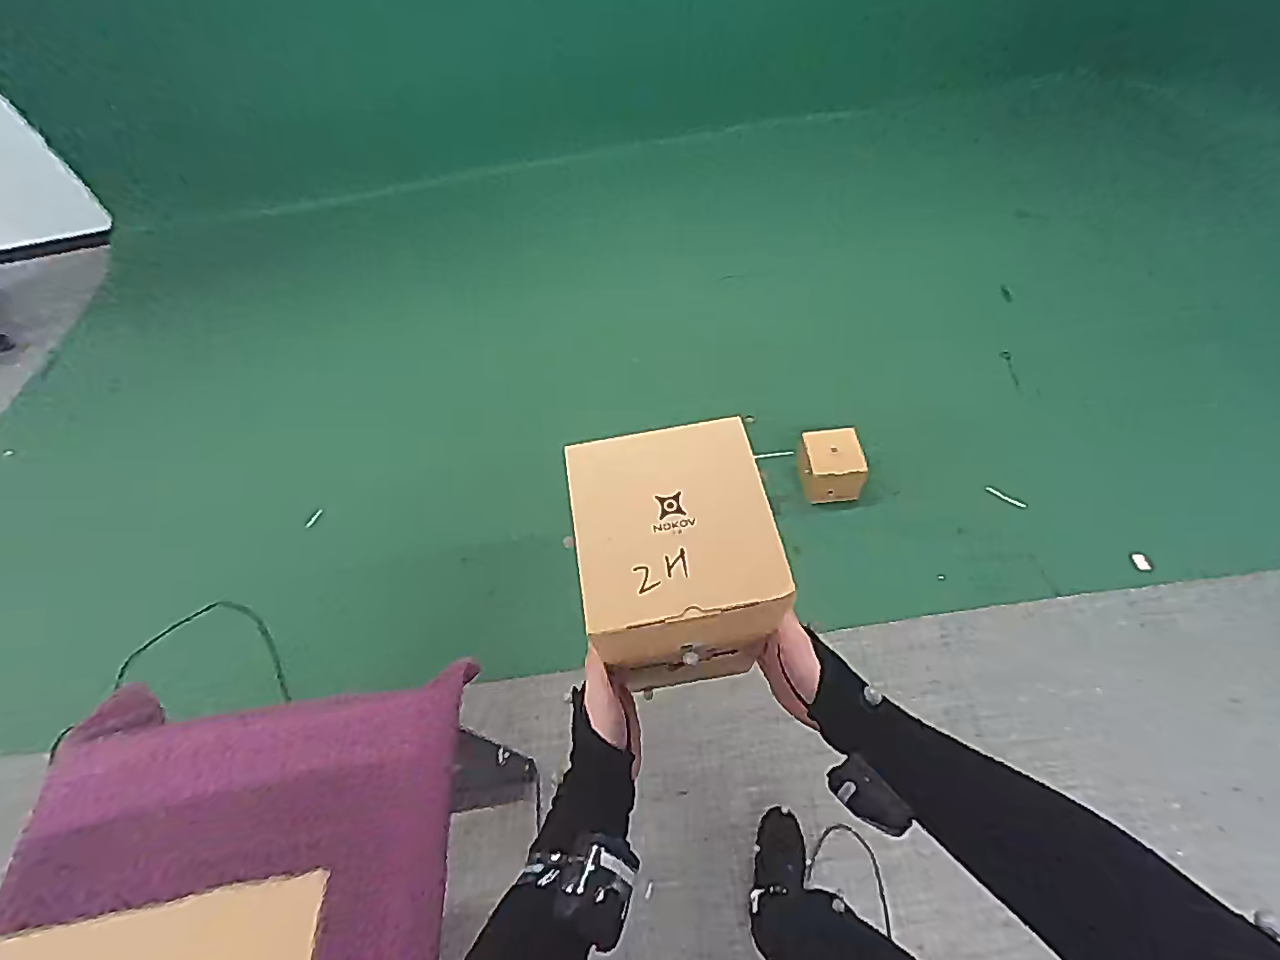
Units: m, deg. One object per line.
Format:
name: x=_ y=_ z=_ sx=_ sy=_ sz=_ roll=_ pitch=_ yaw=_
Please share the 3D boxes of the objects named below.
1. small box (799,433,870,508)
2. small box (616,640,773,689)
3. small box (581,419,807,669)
small box: x=0.629 y=-0.029 z=1.774 sx=0.168 sy=0.176 sz=0.179 roll=-6 pitch=56 yaw=3
small box: x=0.052 y=0.150 z=0.664 sx=0.168 sy=0.176 sz=0.179 roll=-9 pitch=60 yaw=-2
small box: x=0.040 y=0.068 z=0.522 sx=0.168 sy=0.176 sz=0.179 roll=-9 pitch=61 yaw=-1
